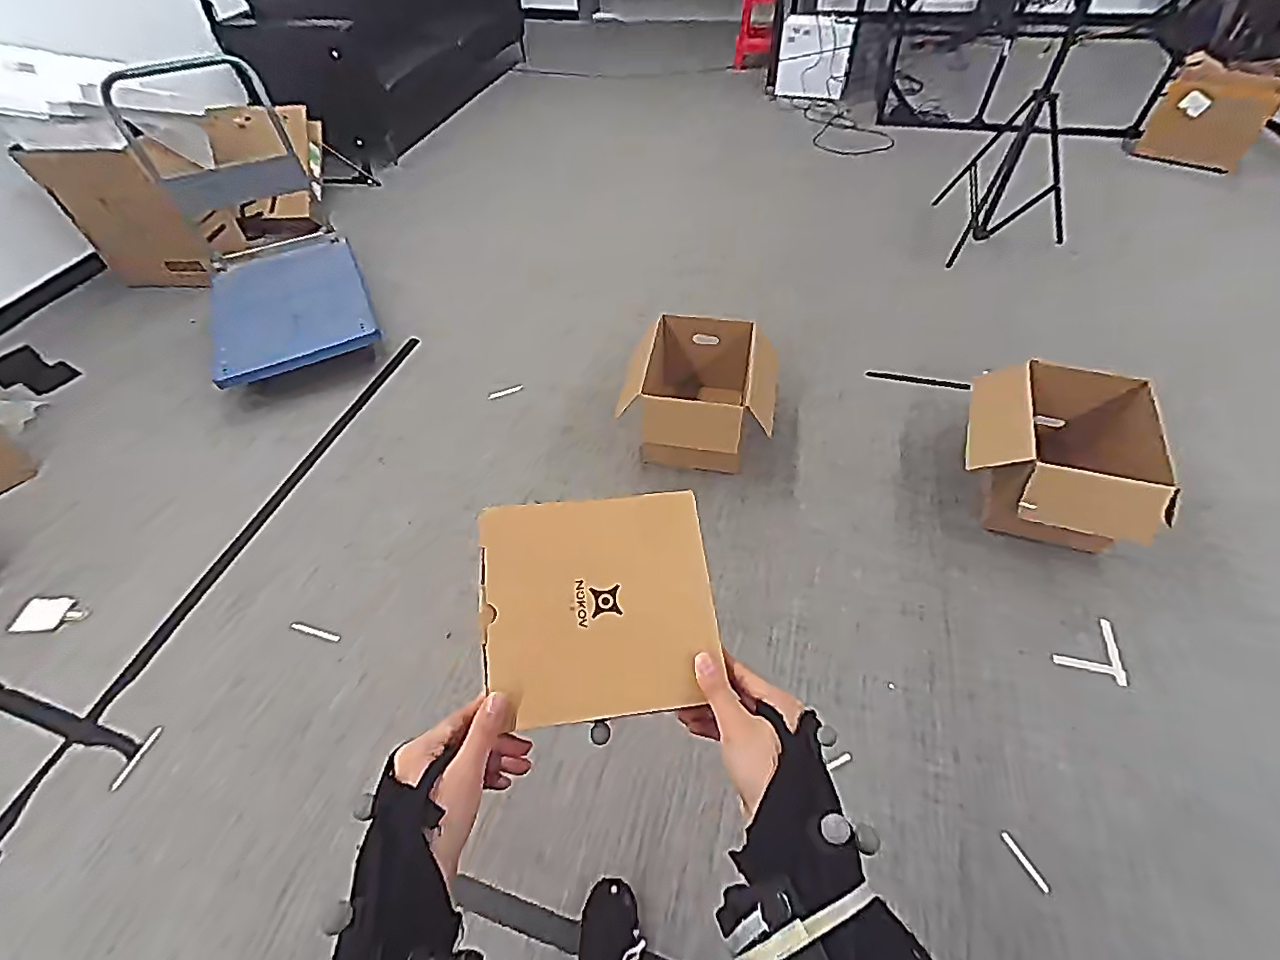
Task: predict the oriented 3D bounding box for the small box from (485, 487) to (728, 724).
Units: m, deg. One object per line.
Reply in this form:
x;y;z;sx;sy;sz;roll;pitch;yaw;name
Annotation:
-0.036;0.118;0.487;0.179;0.176;0.168;-6;67;-6;small box
